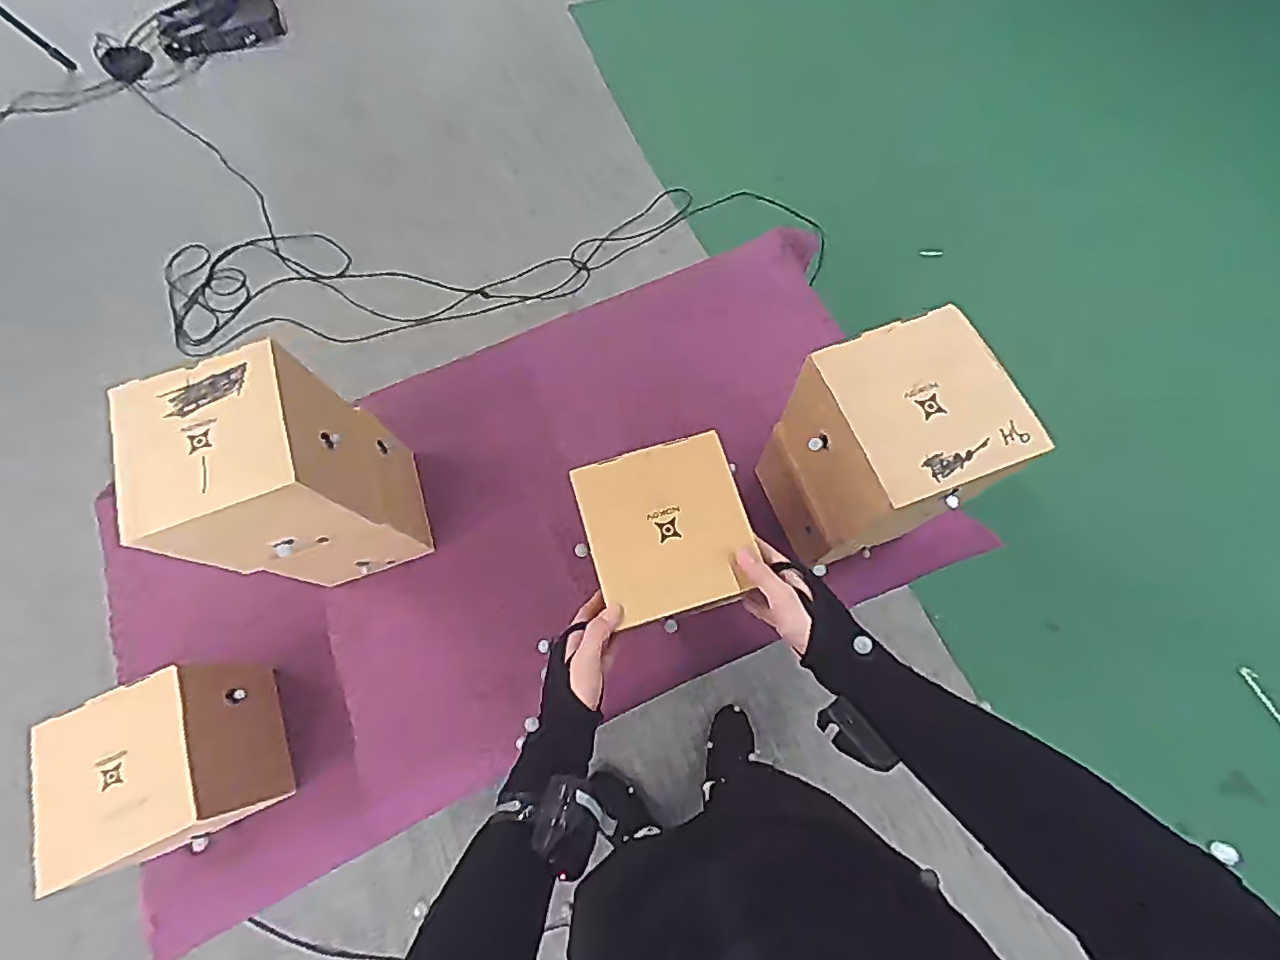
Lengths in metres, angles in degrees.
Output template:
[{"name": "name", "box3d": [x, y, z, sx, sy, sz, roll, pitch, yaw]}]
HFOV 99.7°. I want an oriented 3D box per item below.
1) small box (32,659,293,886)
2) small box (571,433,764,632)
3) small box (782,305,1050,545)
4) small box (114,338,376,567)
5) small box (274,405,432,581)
[{"name": "small box", "box3d": [-0.565, 0.337, 0.658, 0.168, 0.176, 0.179, -23, 71, -6]}, {"name": "small box", "box3d": [0.028, 0.071, 0.635, 0.168, 0.176, 0.179, -15, 73, -4]}, {"name": "small box", "box3d": [0.273, -0.049, 0.588, 0.168, 0.176, 0.179, -20, 70, -3]}, {"name": "small box", "box3d": [-0.426, -0.021, 0.605, 0.168, 0.176, 0.179, -20, 72, -5]}, {"name": "small box", "box3d": [-0.417, 0.026, 0.762, 0.168, 0.176, 0.179, -19, 72, -4]}]
